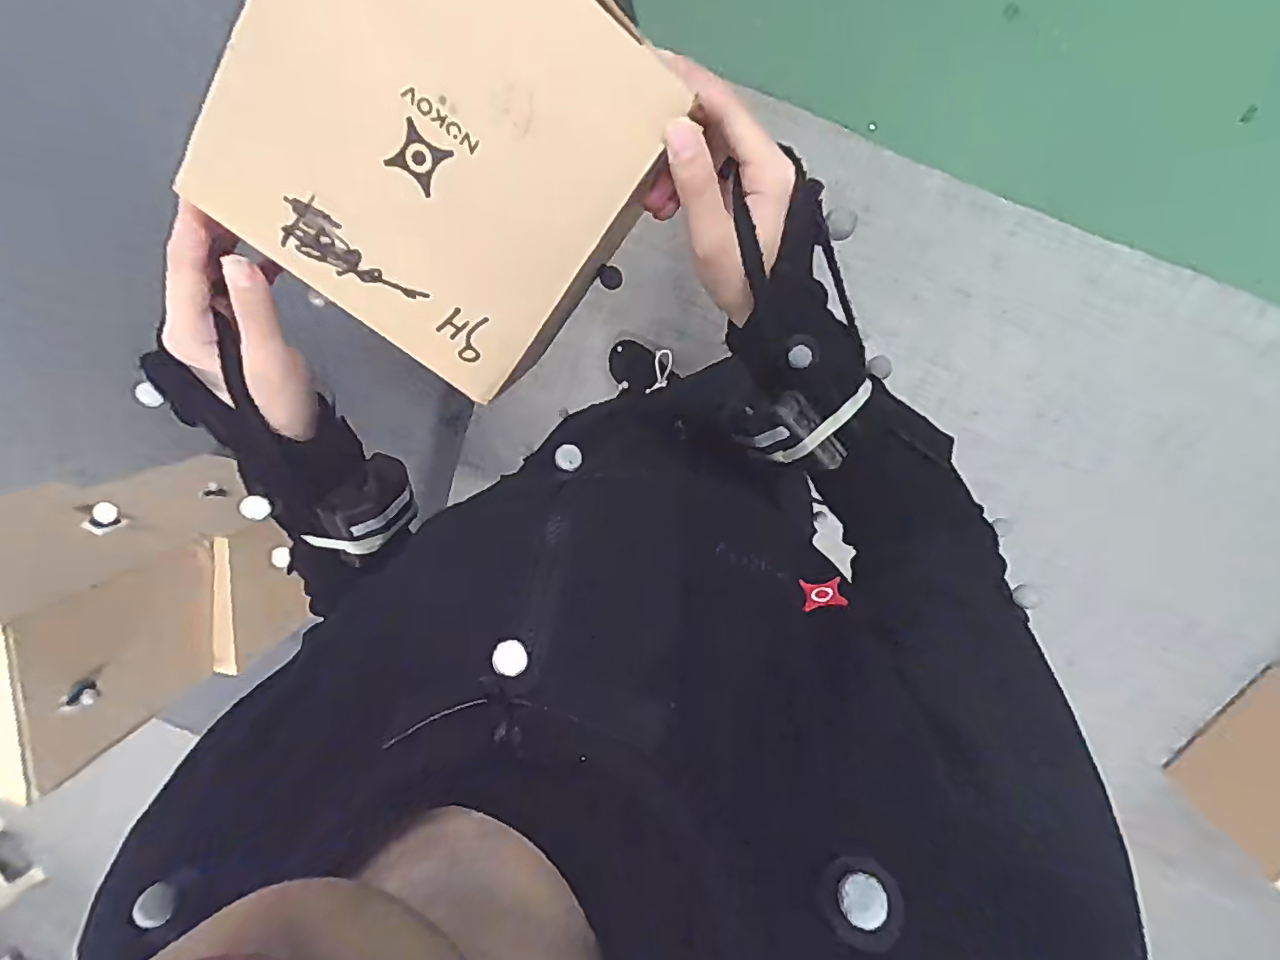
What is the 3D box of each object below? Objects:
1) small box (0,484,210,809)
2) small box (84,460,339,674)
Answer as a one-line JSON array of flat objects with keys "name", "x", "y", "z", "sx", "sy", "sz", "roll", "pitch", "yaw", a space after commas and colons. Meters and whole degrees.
[{"name": "small box", "x": -0.510, "y": 0.125, "z": 0.460, "sx": 0.168, "sy": 0.176, "sz": 0.179, "roll": 16, "pitch": 108, "yaw": 0}, {"name": "small box", "x": -0.479, "y": 0.085, "z": 0.615, "sx": 0.179, "sy": 0.176, "sz": 0.168, "roll": 12, "pitch": 109, "yaw": 2}]
